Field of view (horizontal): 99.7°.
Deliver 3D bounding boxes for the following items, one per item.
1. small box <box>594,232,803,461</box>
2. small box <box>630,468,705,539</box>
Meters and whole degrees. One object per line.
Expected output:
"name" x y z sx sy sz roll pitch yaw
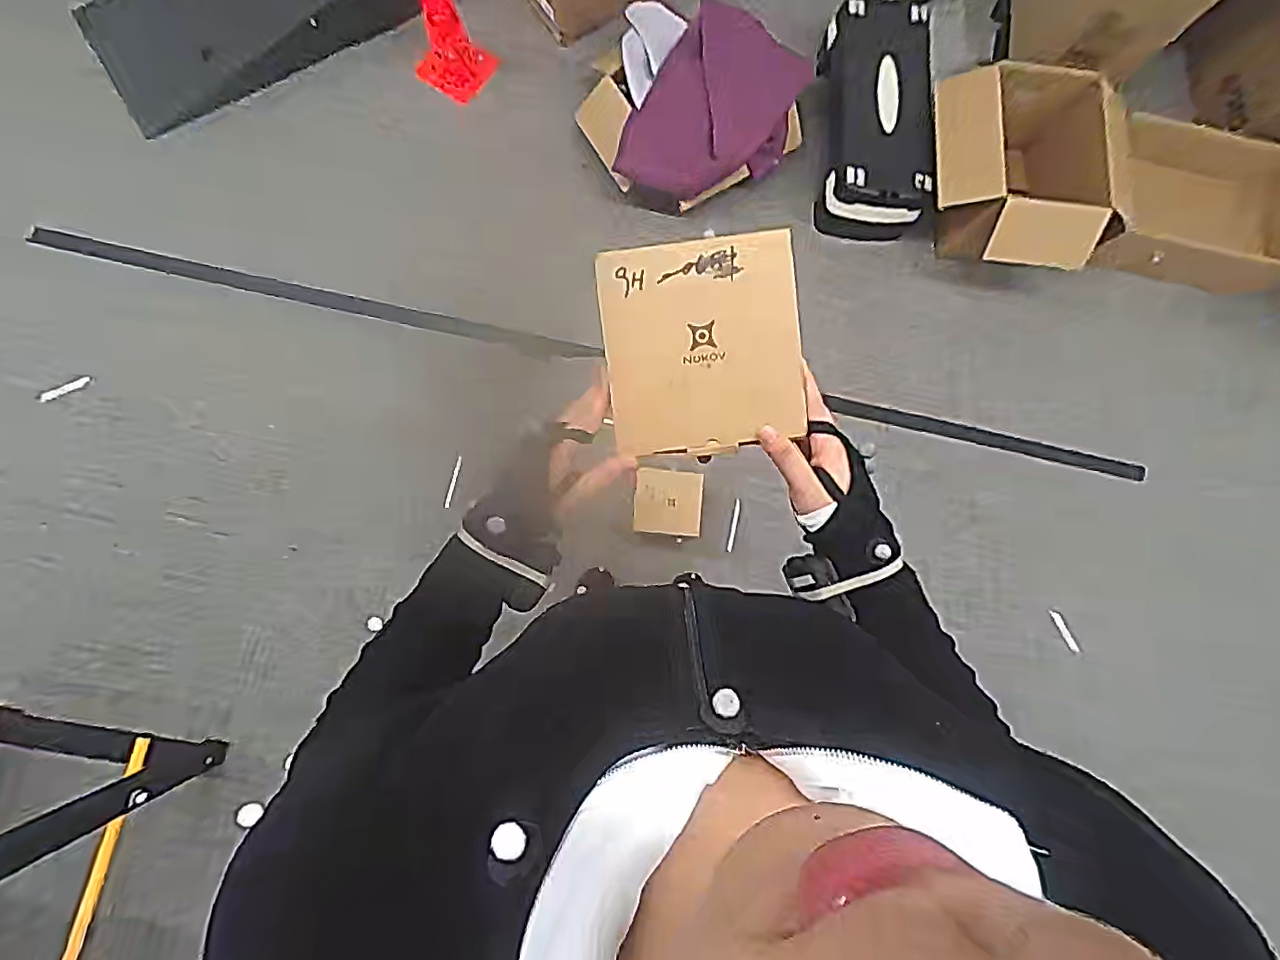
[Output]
"small box" 0.054 -0.120 0.537 0.168 0.176 0.179 -7 96 3
"small box" 0.070 0.070 1.463 0.179 0.176 0.168 6 81 -3
